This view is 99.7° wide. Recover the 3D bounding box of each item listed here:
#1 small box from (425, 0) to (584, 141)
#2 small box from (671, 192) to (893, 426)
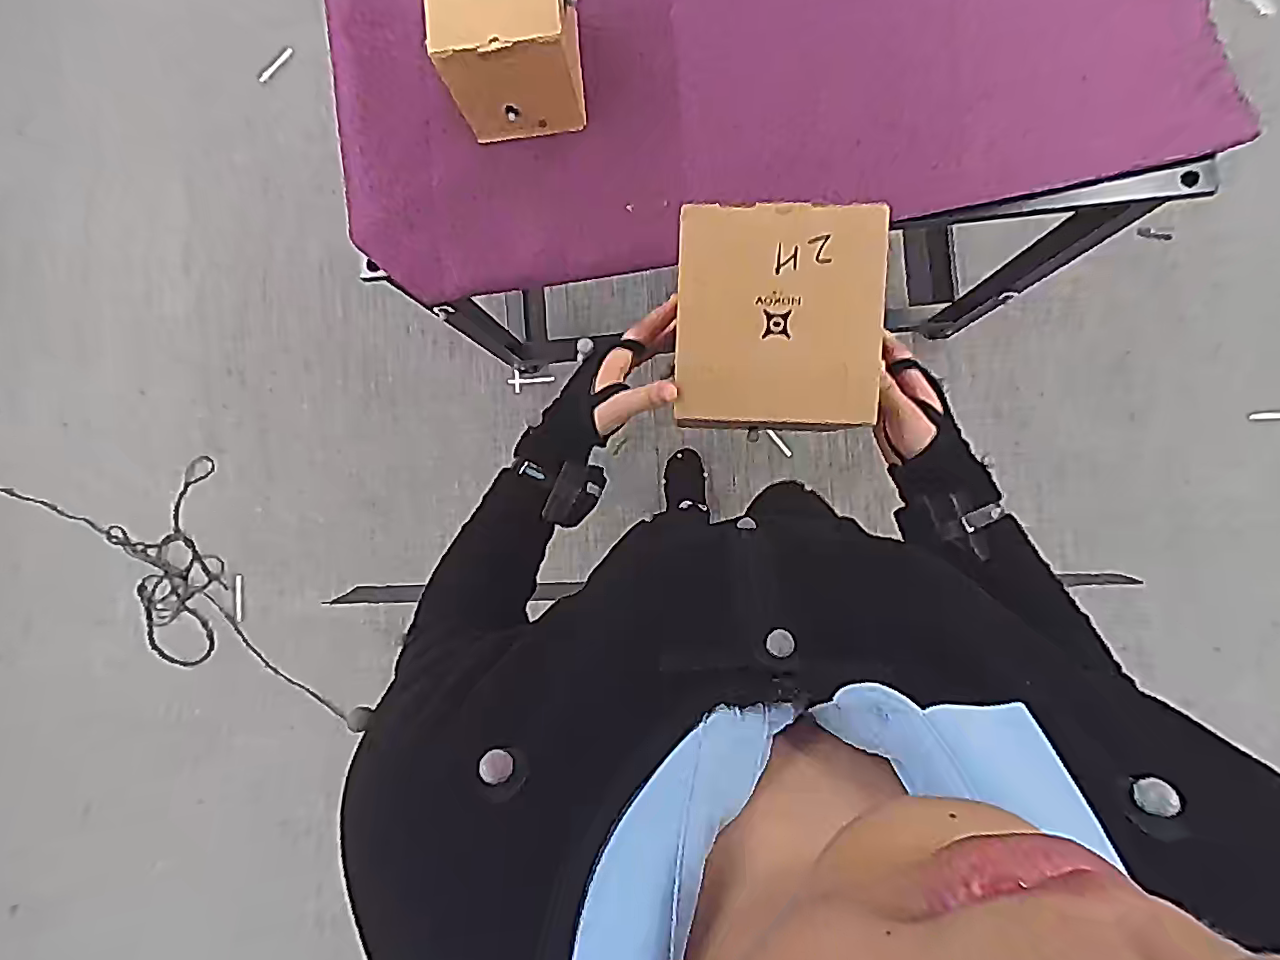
[{"bbox_3d":[-0.174,-0.599,0.725,0.168,0.176,0.179,-5,89,4],"label":"small box"},{"bbox_3d":[0.119,-0.144,0.511,0.168,0.176,0.179,3,92,4],"label":"small box"}]
